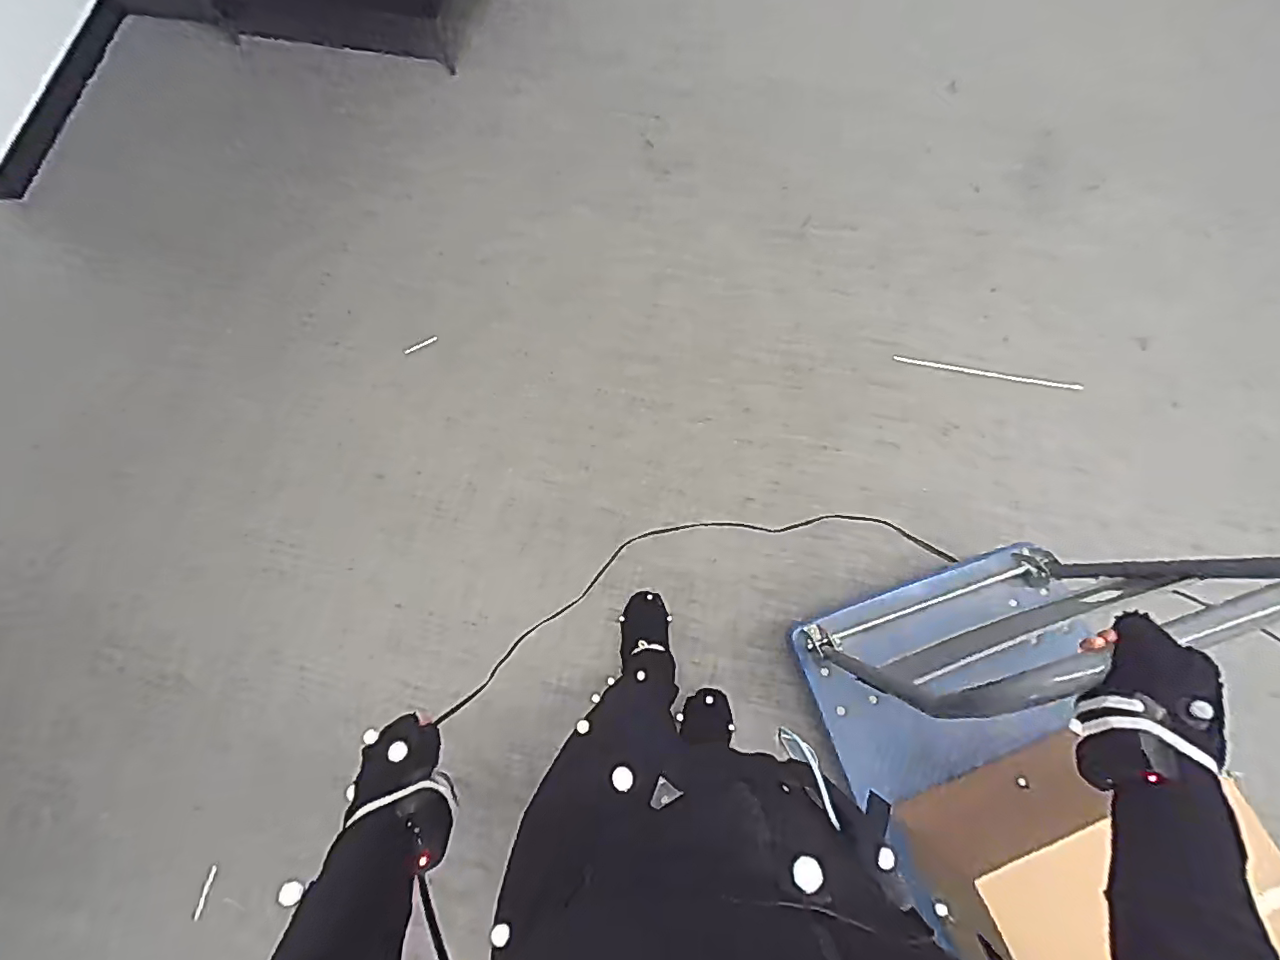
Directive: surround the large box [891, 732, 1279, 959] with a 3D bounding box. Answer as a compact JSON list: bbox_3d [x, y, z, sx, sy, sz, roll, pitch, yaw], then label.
[{"bbox_3d":[0.709,0.663,0.869,0.408,0.320,0.320,-23,76,-4],"label":"large box"}]
